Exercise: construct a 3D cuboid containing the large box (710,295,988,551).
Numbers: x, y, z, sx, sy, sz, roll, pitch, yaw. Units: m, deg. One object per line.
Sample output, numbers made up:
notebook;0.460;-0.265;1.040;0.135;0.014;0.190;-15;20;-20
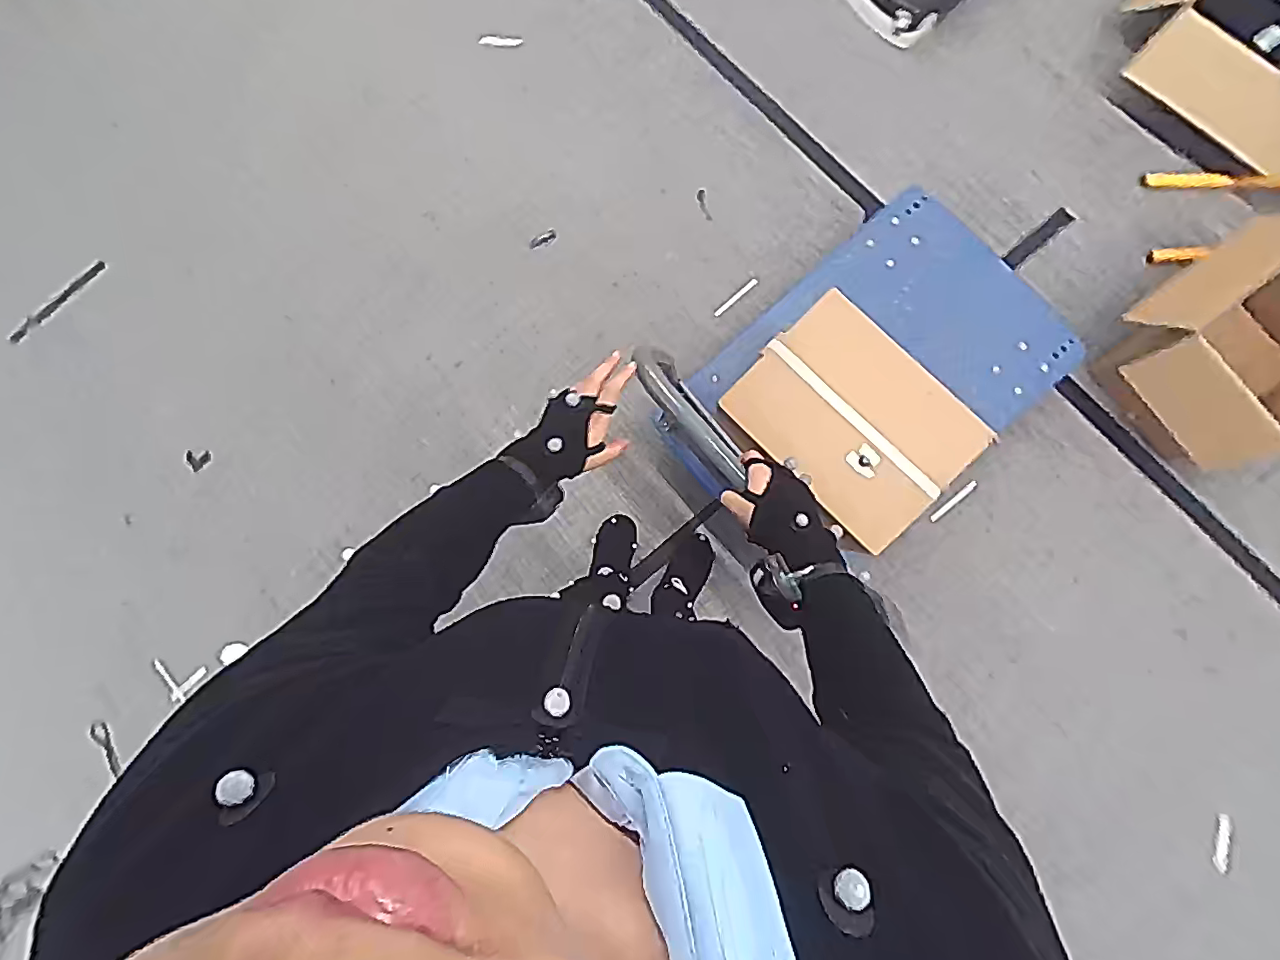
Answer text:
large box;0.403;-0.103;1.156;0.320;0.320;0.408;-45;85;1
